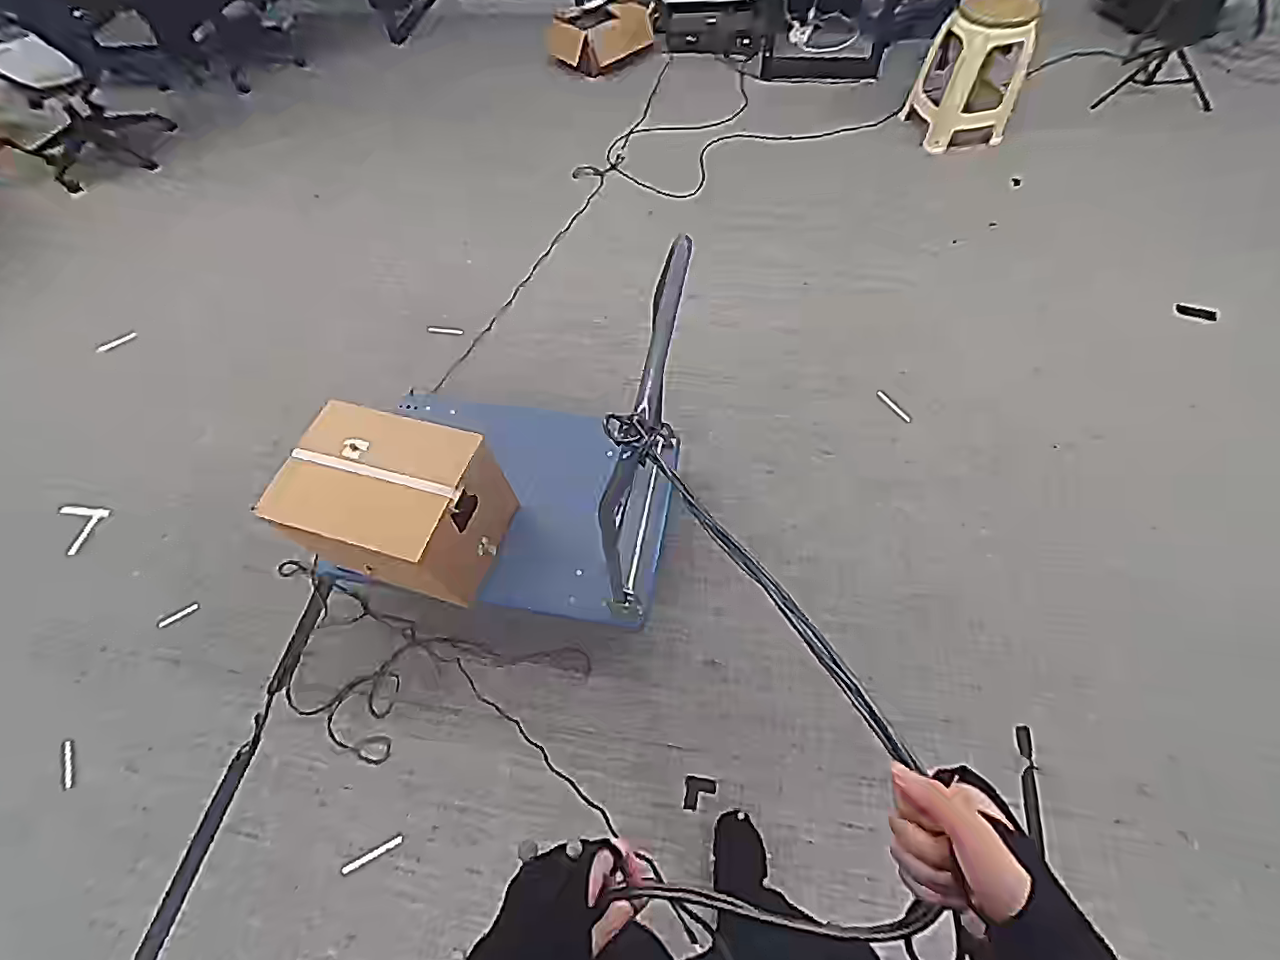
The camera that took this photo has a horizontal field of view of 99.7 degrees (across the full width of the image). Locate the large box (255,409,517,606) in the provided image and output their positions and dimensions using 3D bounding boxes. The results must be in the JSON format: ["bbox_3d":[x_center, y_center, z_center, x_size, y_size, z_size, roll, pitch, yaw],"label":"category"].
[{"bbox_3d":[-0.562,0.073,1.285,0.408,0.320,0.320,12,61,11],"label":"large box"}]
